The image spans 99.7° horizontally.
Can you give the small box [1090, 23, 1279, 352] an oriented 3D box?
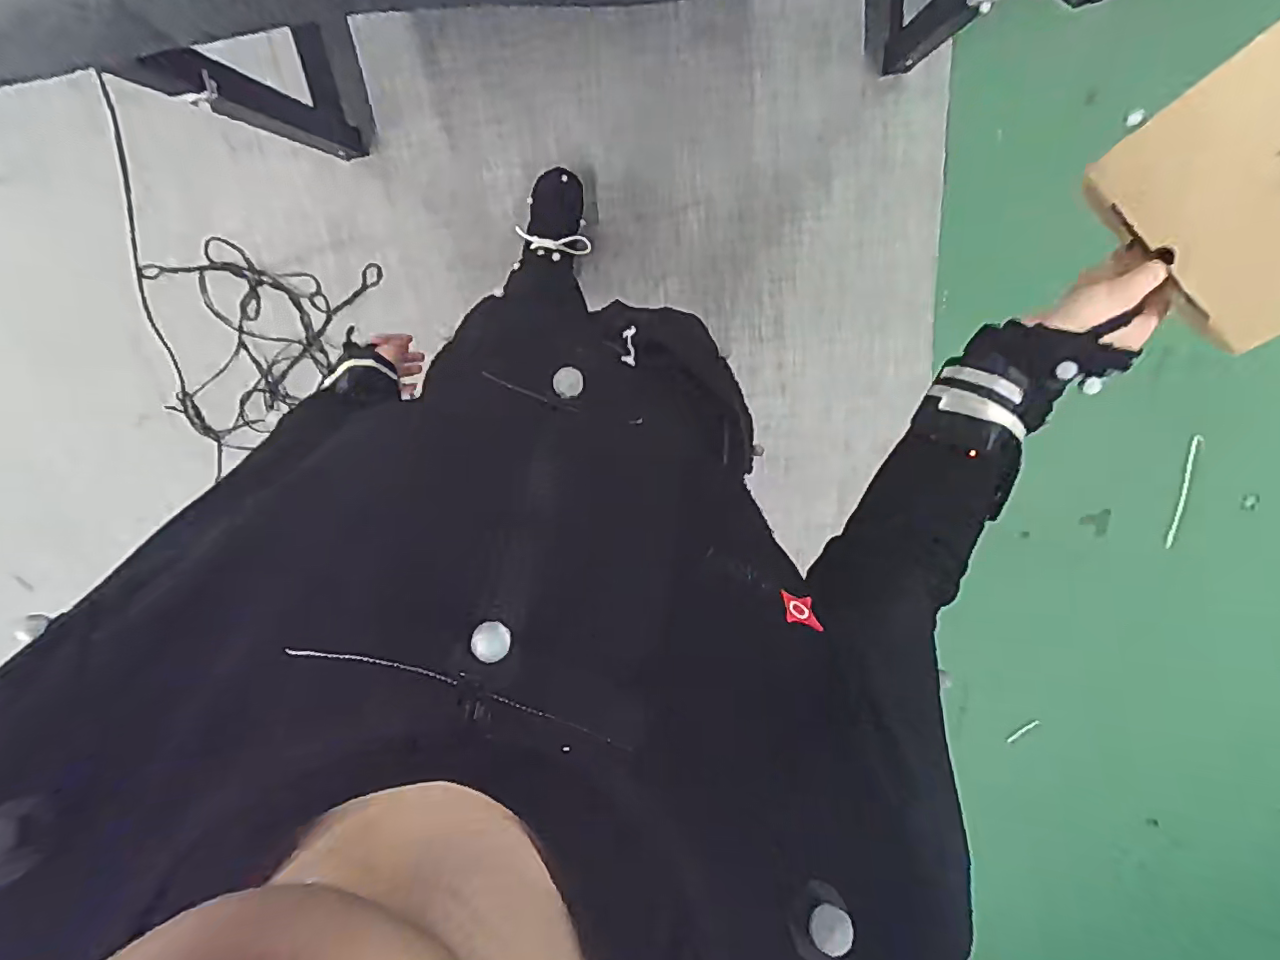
[{"bbox_3d":[0.455,-0.218,0.371,0.168,0.176,0.179,56,134,6],"label":"small box"}]
